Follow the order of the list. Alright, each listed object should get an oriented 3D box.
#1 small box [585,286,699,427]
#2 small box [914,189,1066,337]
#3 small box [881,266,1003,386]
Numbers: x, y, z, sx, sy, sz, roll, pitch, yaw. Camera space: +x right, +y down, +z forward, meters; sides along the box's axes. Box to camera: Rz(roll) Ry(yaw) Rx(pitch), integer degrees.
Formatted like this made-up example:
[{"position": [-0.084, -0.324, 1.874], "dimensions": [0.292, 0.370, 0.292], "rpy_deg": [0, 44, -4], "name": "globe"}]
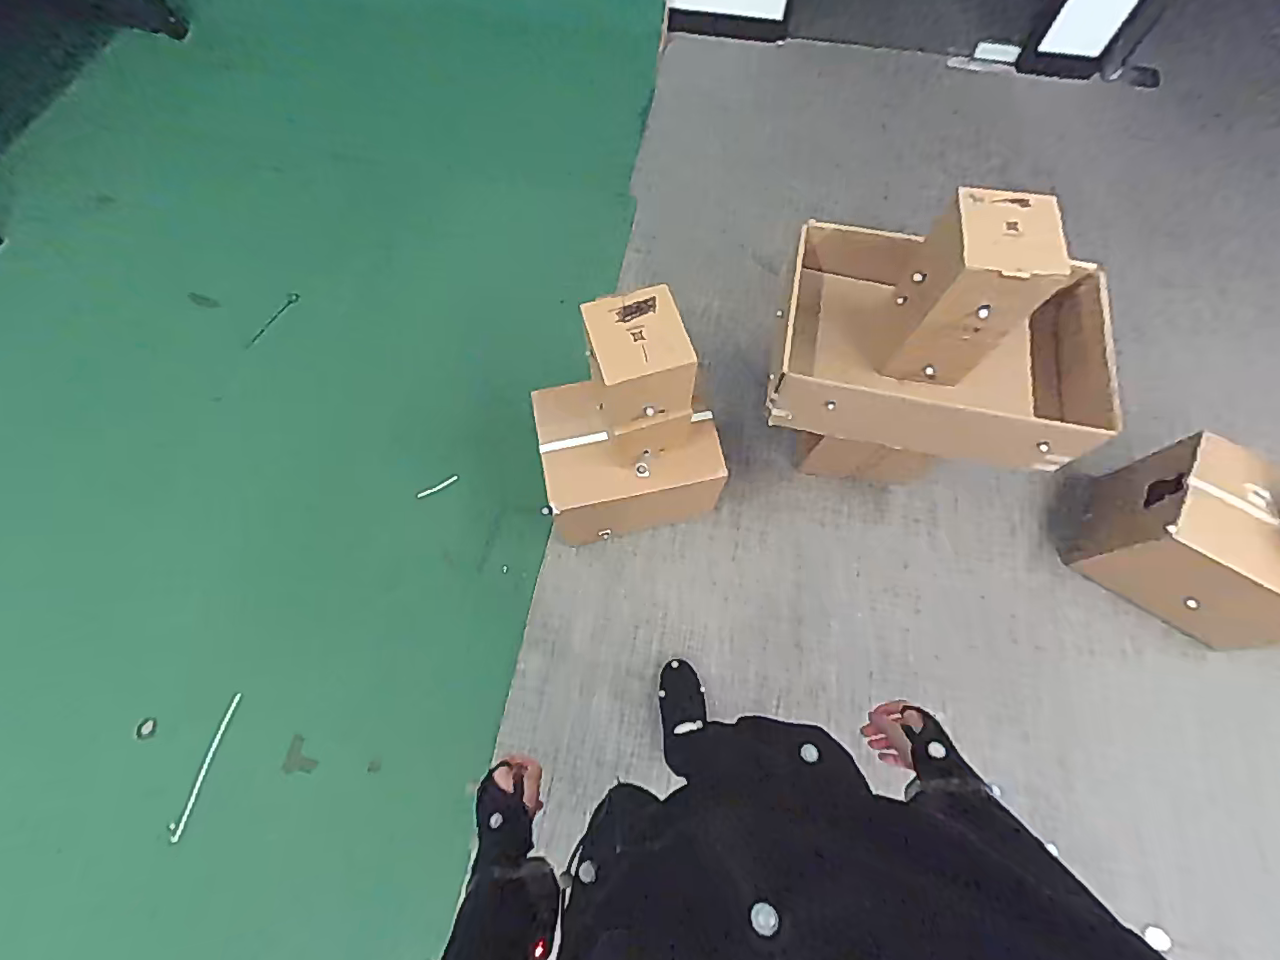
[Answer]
[{"position": [0.001, -0.226, 1.018], "dimensions": [0.168, 0.176, 0.179], "rpy_deg": [-16, 69, -6], "name": "small box"}, {"position": [0.610, -0.379, 0.964], "dimensions": [0.168, 0.176, 0.179], "rpy_deg": [8, 70, 3], "name": "small box"}, {"position": [0.614, -0.322, 1.118], "dimensions": [0.168, 0.176, 0.179], "rpy_deg": [10, 70, 4], "name": "small box"}]
